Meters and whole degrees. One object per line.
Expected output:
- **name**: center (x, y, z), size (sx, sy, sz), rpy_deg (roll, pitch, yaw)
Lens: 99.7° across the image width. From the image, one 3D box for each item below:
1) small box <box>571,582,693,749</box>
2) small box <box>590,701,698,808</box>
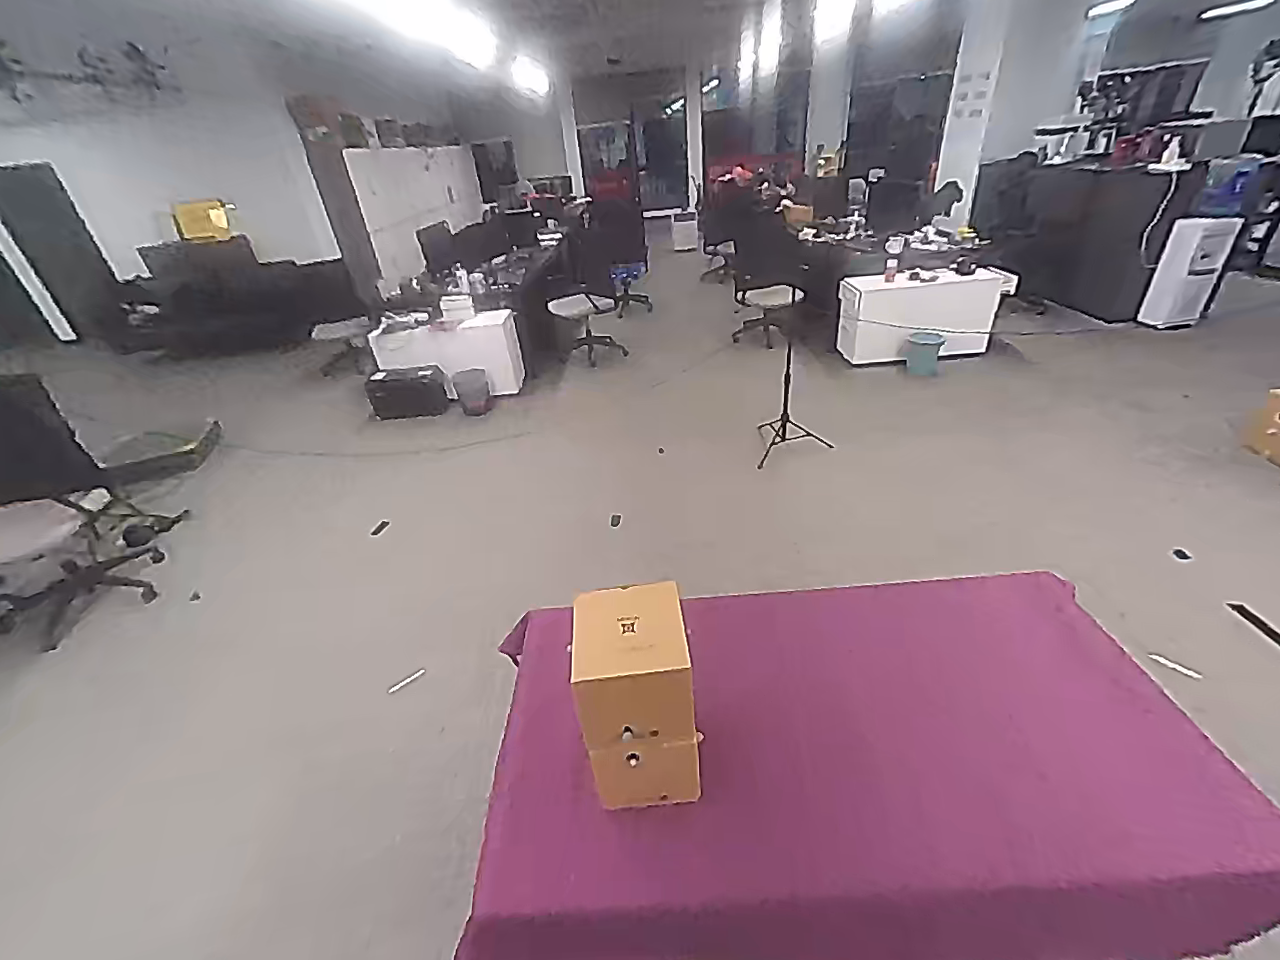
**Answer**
- **small box**: center (-0.011, 0.285, 0.841), size (0.168, 0.176, 0.179), rpy_deg (-6, 32, 0)
- **small box**: center (0.009, 0.424, 0.925), size (0.168, 0.176, 0.179), rpy_deg (-5, 32, 1)
